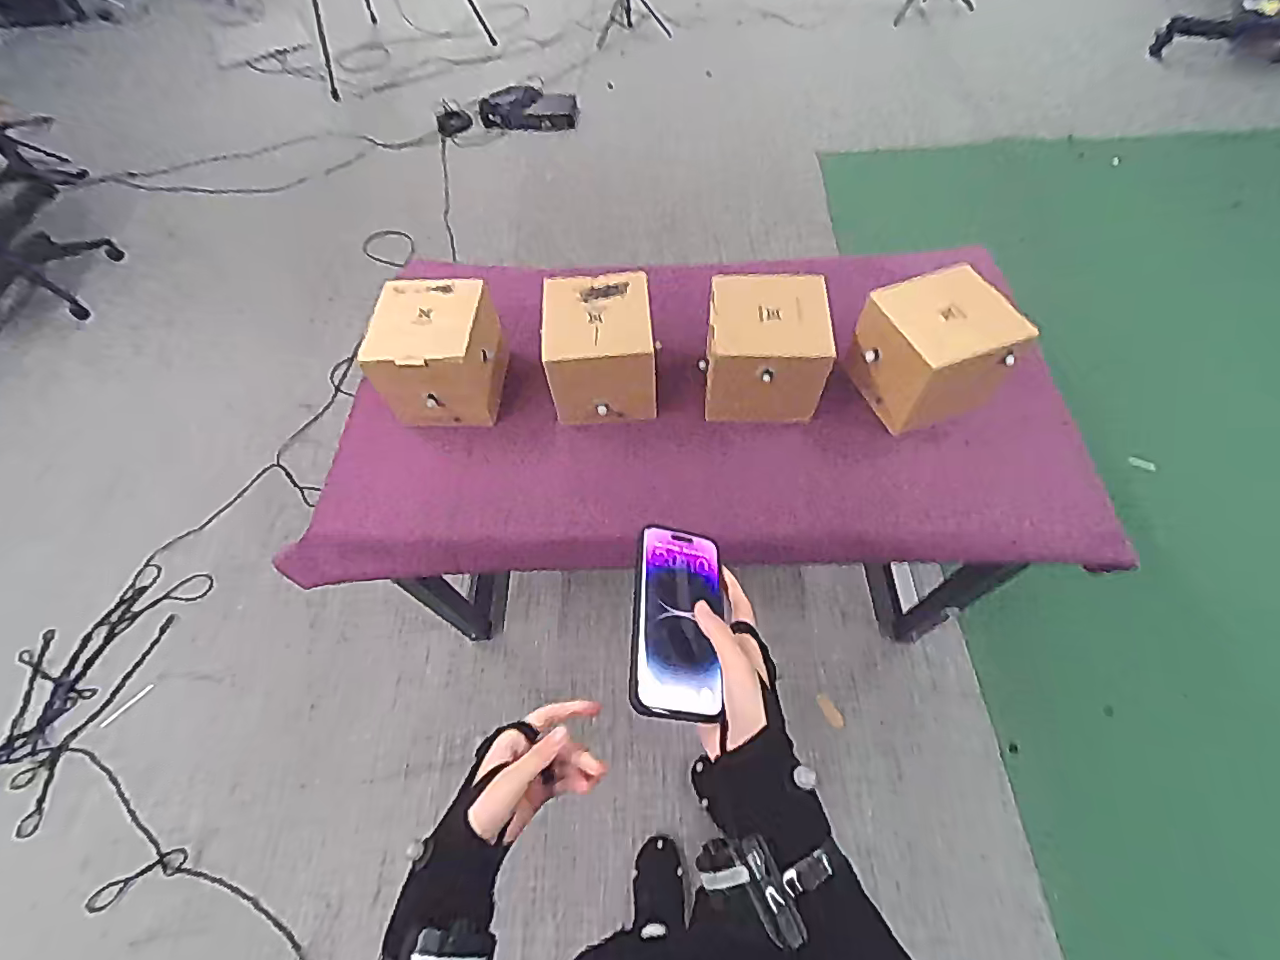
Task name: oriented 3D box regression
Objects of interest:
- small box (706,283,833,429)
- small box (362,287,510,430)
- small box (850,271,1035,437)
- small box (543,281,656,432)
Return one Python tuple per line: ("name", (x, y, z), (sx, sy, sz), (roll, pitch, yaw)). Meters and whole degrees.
("small box", (0.199, -0.196, 0.878), (0.179, 0.176, 0.168), (2, 60, 5))
("small box", (-0.328, -0.198, 0.912), (0.168, 0.176, 0.179), (0, 60, 4))
("small box", (0.456, -0.193, 0.858), (0.179, 0.176, 0.168), (-19, 59, -8))
("small box", (-0.060, -0.202, 0.897), (0.168, 0.176, 0.179), (-4, 60, 1))
